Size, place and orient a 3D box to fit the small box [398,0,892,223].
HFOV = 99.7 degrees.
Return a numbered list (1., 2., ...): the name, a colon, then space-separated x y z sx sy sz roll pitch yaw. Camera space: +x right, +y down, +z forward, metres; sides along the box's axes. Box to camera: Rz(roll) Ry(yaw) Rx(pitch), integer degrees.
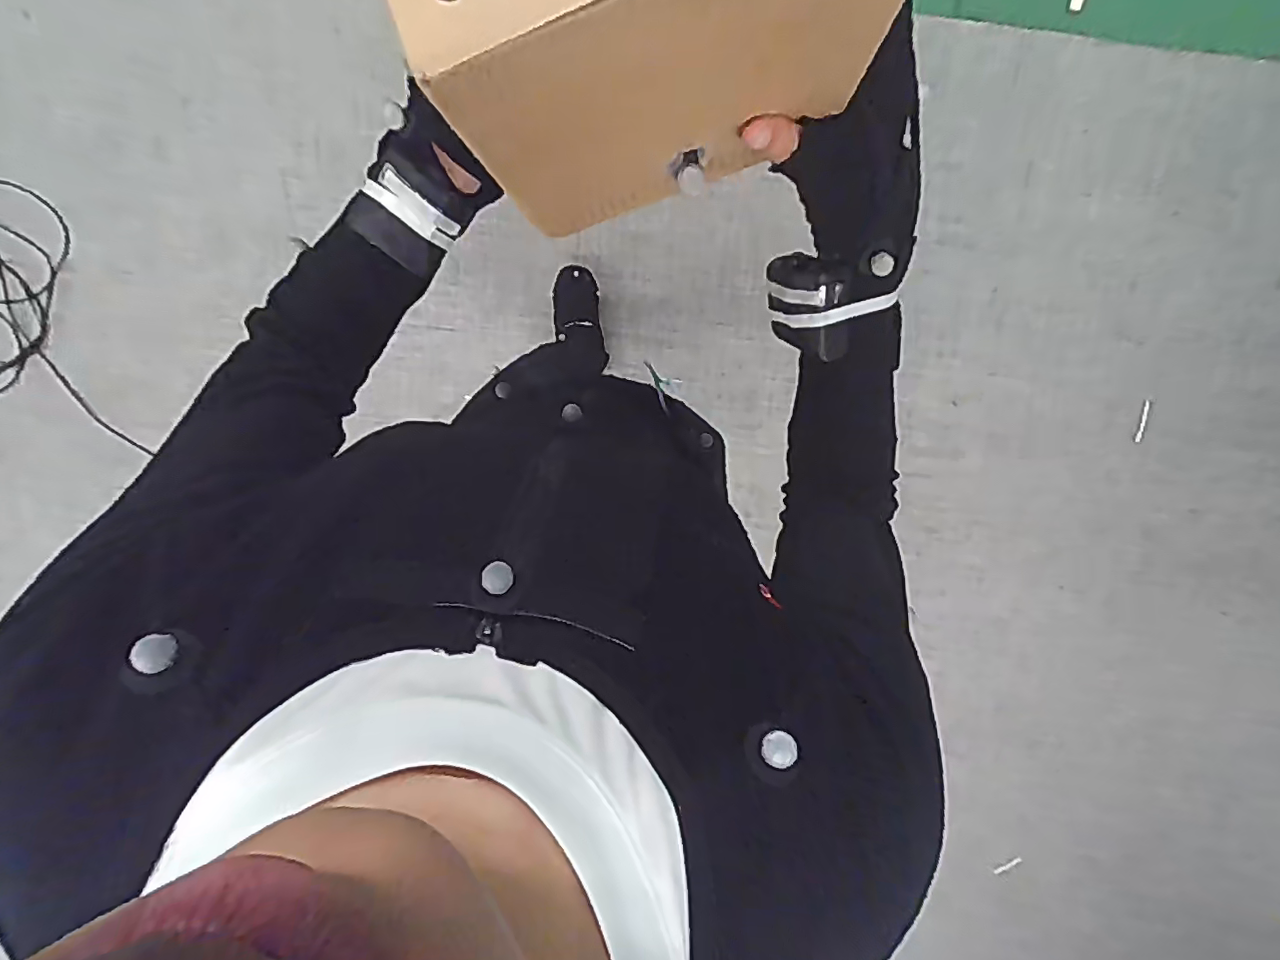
1. small box: -0.004 -0.236 0.222 0.179 0.176 0.168 -18 97 6
